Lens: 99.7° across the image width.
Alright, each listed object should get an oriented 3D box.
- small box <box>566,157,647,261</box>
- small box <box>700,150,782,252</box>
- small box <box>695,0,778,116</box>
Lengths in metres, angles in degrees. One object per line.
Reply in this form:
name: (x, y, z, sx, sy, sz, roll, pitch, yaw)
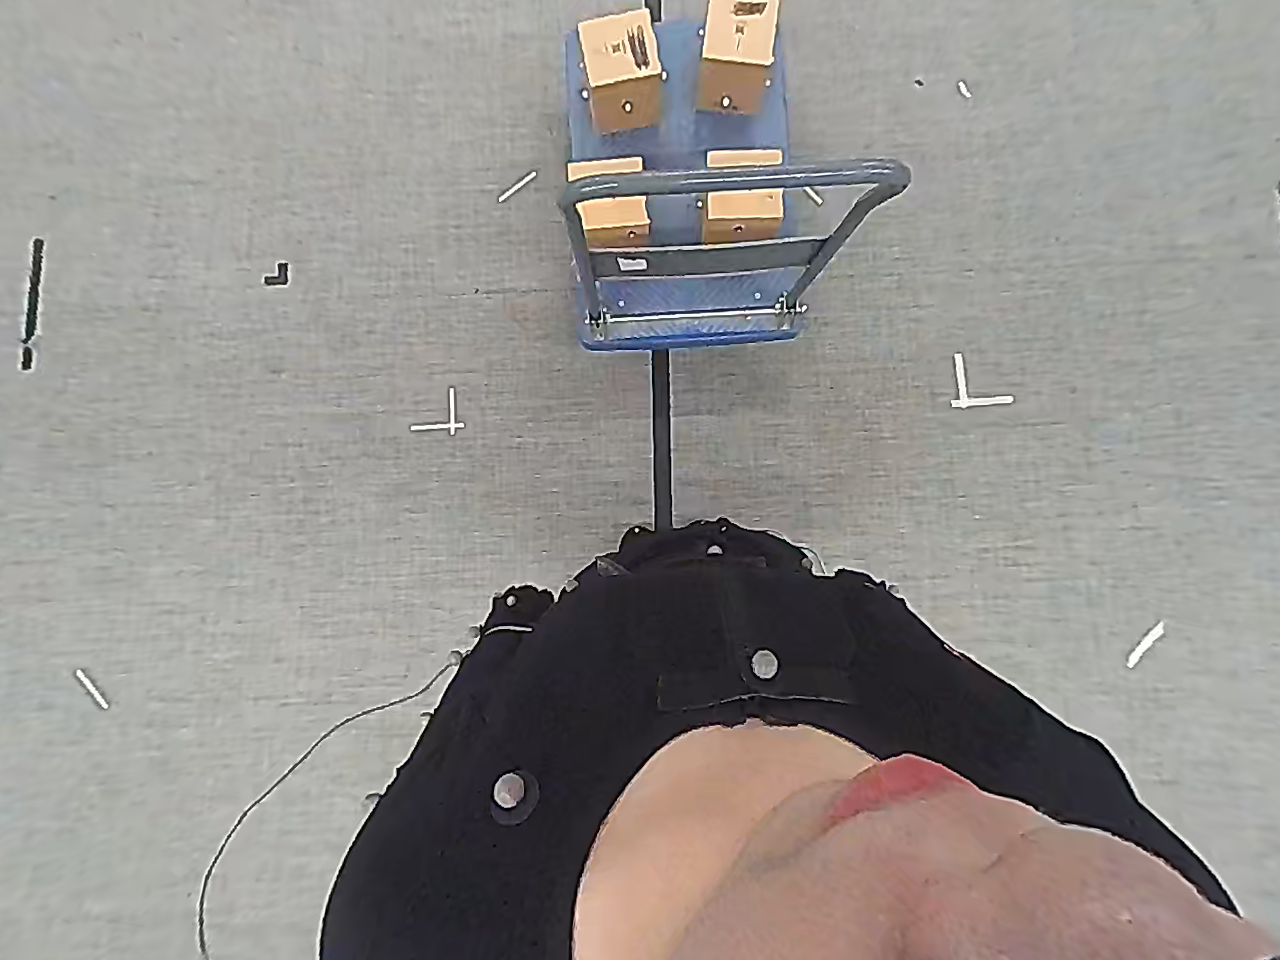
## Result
small box: (-0.077, -0.652, 1.320, 0.179, 0.176, 0.168, -6, 86, -1)
small box: (0.239, -0.672, 1.318, 0.179, 0.176, 0.168, 0, 86, 1)
small box: (0.233, -1.057, 1.343, 0.168, 0.176, 0.179, 7, 87, 1)
